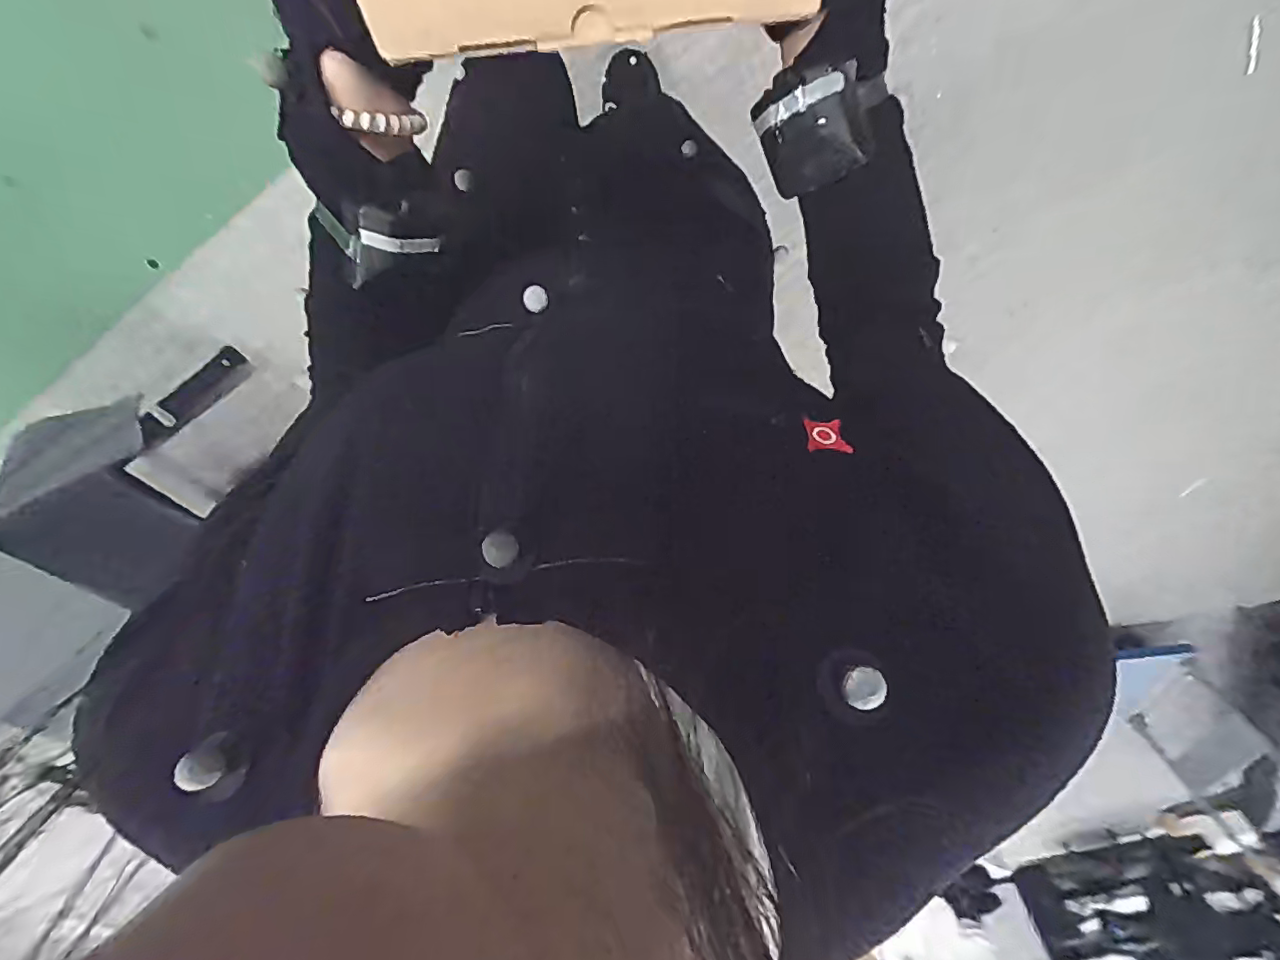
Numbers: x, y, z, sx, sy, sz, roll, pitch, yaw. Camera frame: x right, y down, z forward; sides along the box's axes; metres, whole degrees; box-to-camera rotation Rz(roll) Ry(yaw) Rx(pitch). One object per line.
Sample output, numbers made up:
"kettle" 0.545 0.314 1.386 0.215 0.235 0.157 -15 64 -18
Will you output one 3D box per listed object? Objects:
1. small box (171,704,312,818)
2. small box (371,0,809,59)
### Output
"small box" -0.883 0.632 1.223 0.179 0.176 0.168 -26 126 19
"small box" -0.025 -0.287 0.188 0.168 0.176 0.179 -3 144 6
